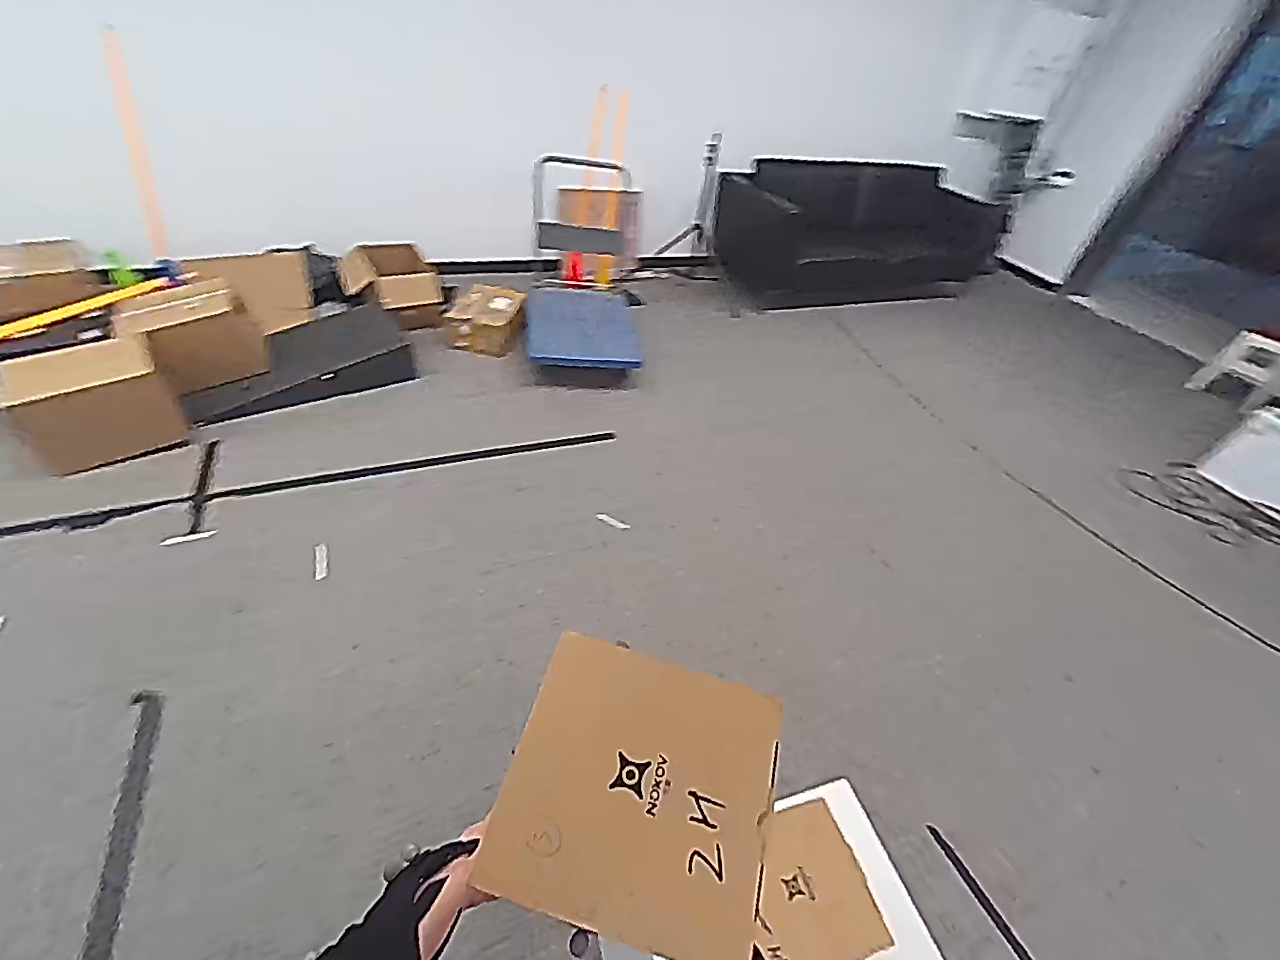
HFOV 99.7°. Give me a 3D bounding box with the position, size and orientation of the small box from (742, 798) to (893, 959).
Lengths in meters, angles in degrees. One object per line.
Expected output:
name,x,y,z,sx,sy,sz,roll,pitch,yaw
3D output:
small box,0.183,0.554,0.714,0.179,0.176,0.168,-4,43,-18

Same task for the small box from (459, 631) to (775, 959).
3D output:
small box,-0.012,0.246,0.423,0.179,0.176,0.168,16,54,5
